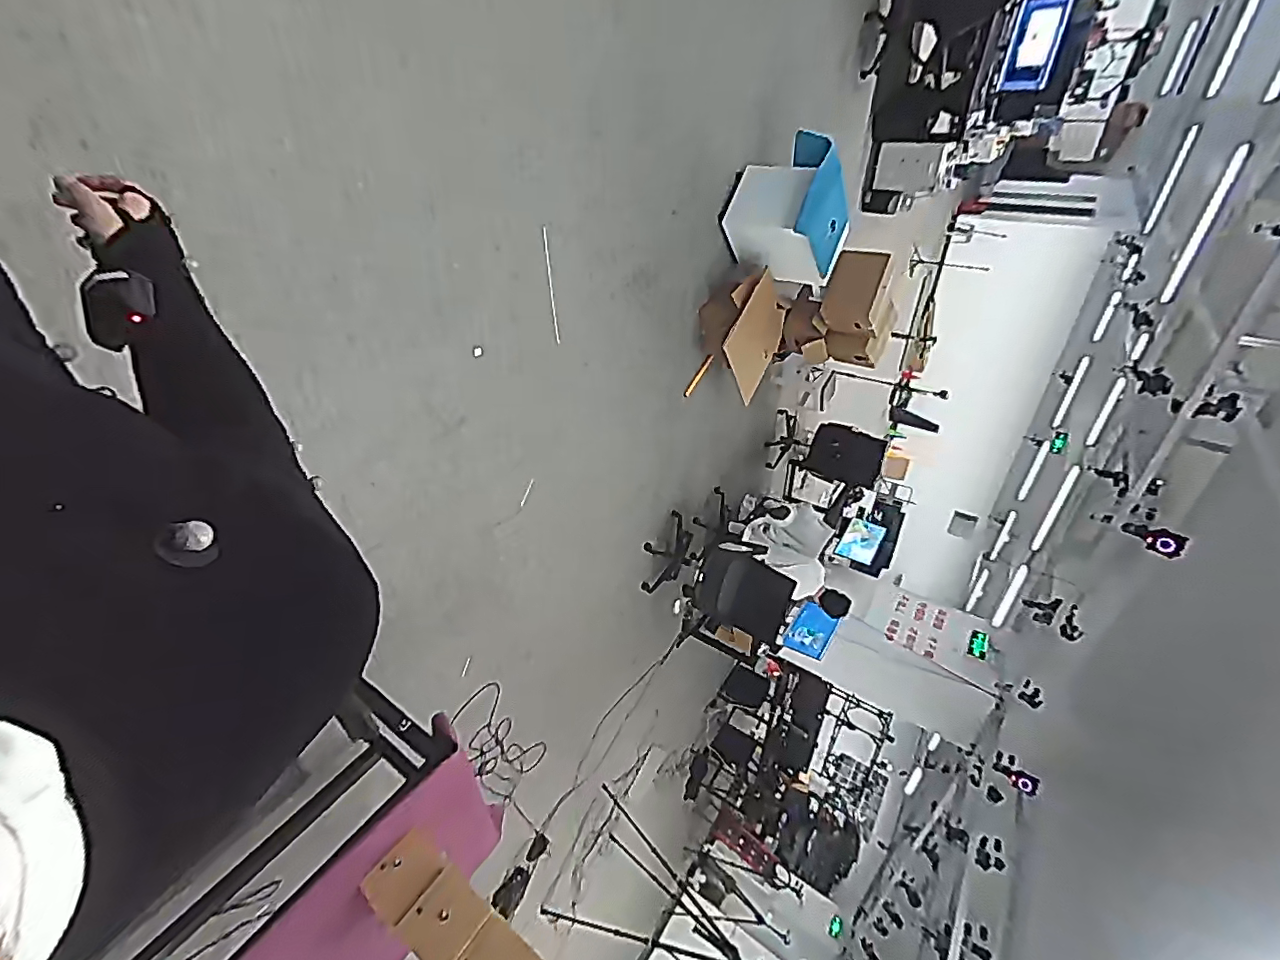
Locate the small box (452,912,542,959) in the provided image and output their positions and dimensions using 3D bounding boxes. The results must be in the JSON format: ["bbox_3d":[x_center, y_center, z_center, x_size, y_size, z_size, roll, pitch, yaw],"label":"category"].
[{"bbox_3d":[-0.335,1.158,1.253,0.168,0.176,0.179,-42,141,-40],"label":"small box"}]

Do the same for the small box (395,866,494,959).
[{"bbox_3d":[-0.469,1.100,1.328,0.168,0.176,0.179,-40,140,-41],"label":"small box"}]
